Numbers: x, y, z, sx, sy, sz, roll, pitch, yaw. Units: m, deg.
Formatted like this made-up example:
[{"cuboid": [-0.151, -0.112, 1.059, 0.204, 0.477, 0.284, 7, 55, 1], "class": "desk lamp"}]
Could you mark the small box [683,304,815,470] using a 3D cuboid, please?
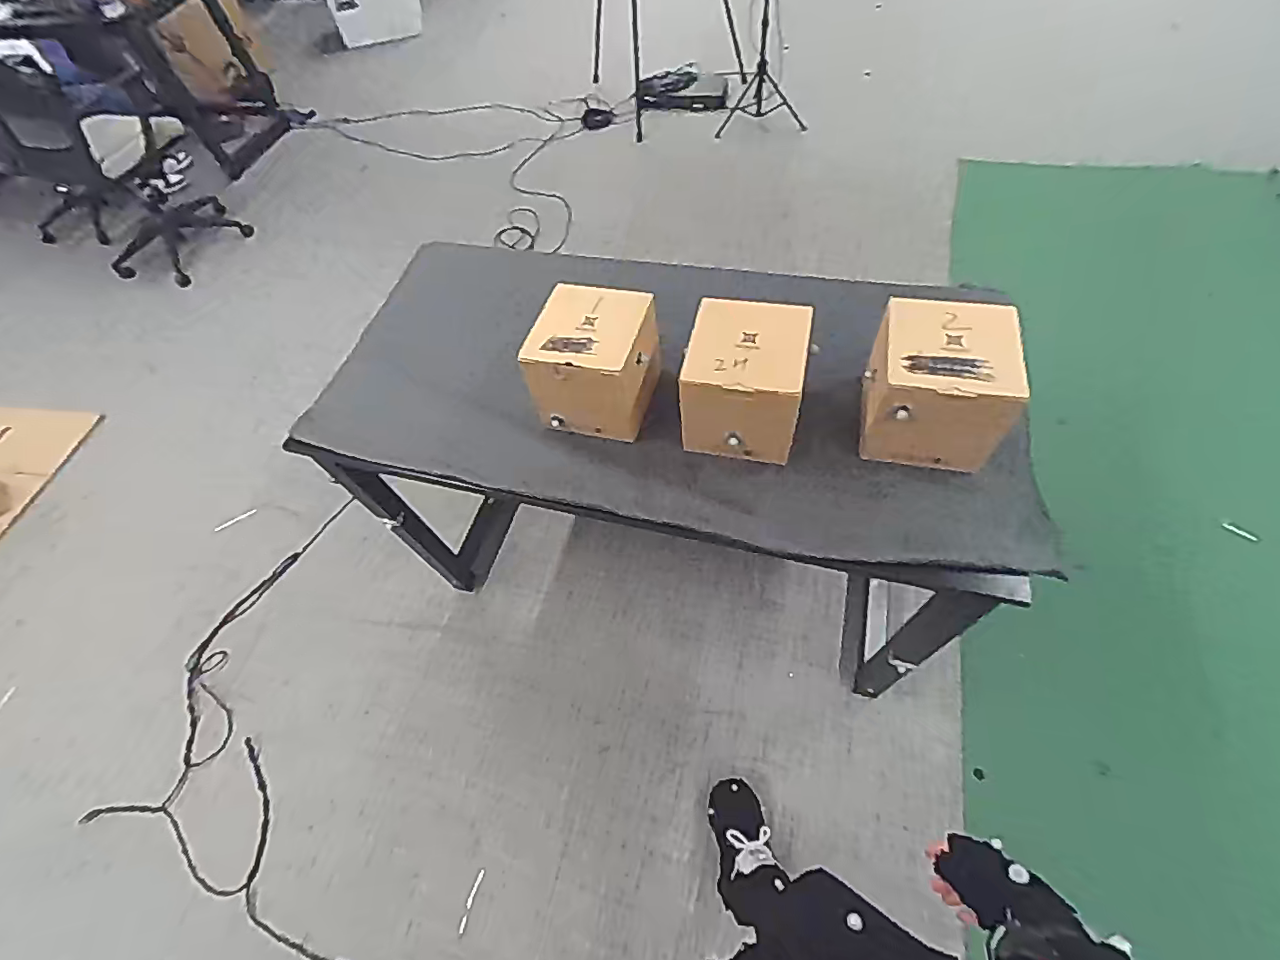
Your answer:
[{"cuboid": [0.165, -0.142, 0.834, 0.168, 0.176, 0.179, 9, 59, 13], "class": "small box"}]

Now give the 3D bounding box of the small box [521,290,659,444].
[{"cuboid": [-0.069, -0.182, 0.890, 0.168, 0.176, 0.179, 11, 58, 13], "class": "small box"}]
